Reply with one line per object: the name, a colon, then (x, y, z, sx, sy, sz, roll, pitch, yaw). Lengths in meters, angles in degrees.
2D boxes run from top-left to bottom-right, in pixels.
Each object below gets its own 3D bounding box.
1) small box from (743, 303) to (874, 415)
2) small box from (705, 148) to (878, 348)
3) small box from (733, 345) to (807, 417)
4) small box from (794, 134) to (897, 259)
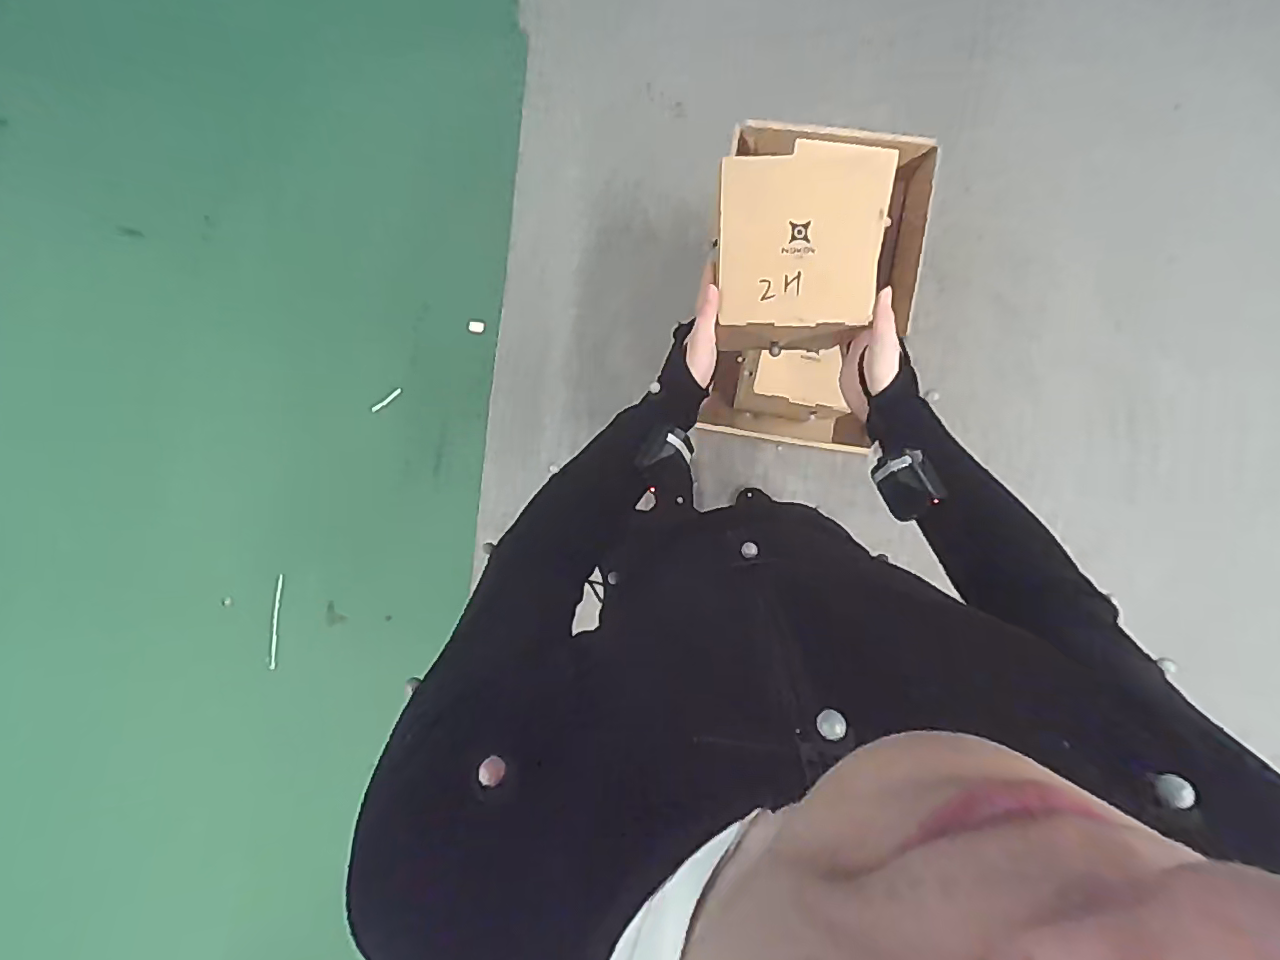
small box: (0.283, -0.218, 0.952, 0.168, 0.176, 0.179, 13, 92, 4)
small box: (0.166, -0.263, 0.645, 0.168, 0.176, 0.179, 2, 95, 4)
small box: (0.290, -0.232, 1.114, 0.168, 0.176, 0.179, 11, 92, 4)
small box: (0.320, -0.460, 0.945, 0.168, 0.176, 0.179, 10, 95, 4)
